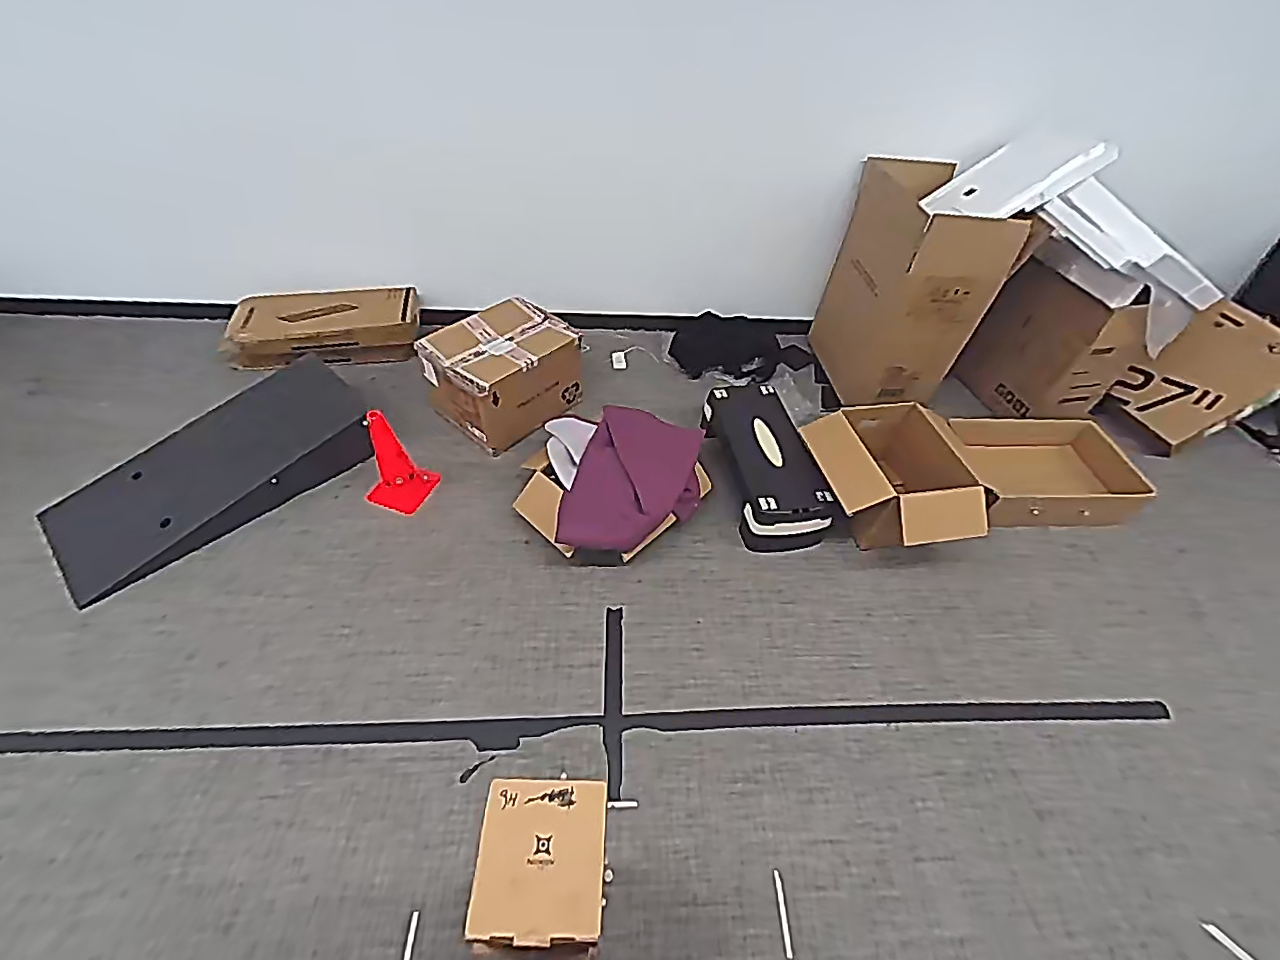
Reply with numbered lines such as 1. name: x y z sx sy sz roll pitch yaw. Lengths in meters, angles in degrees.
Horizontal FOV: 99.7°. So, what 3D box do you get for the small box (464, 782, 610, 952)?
1. small box: -0.129 0.541 0.755 0.168 0.176 0.179 2 48 -1
